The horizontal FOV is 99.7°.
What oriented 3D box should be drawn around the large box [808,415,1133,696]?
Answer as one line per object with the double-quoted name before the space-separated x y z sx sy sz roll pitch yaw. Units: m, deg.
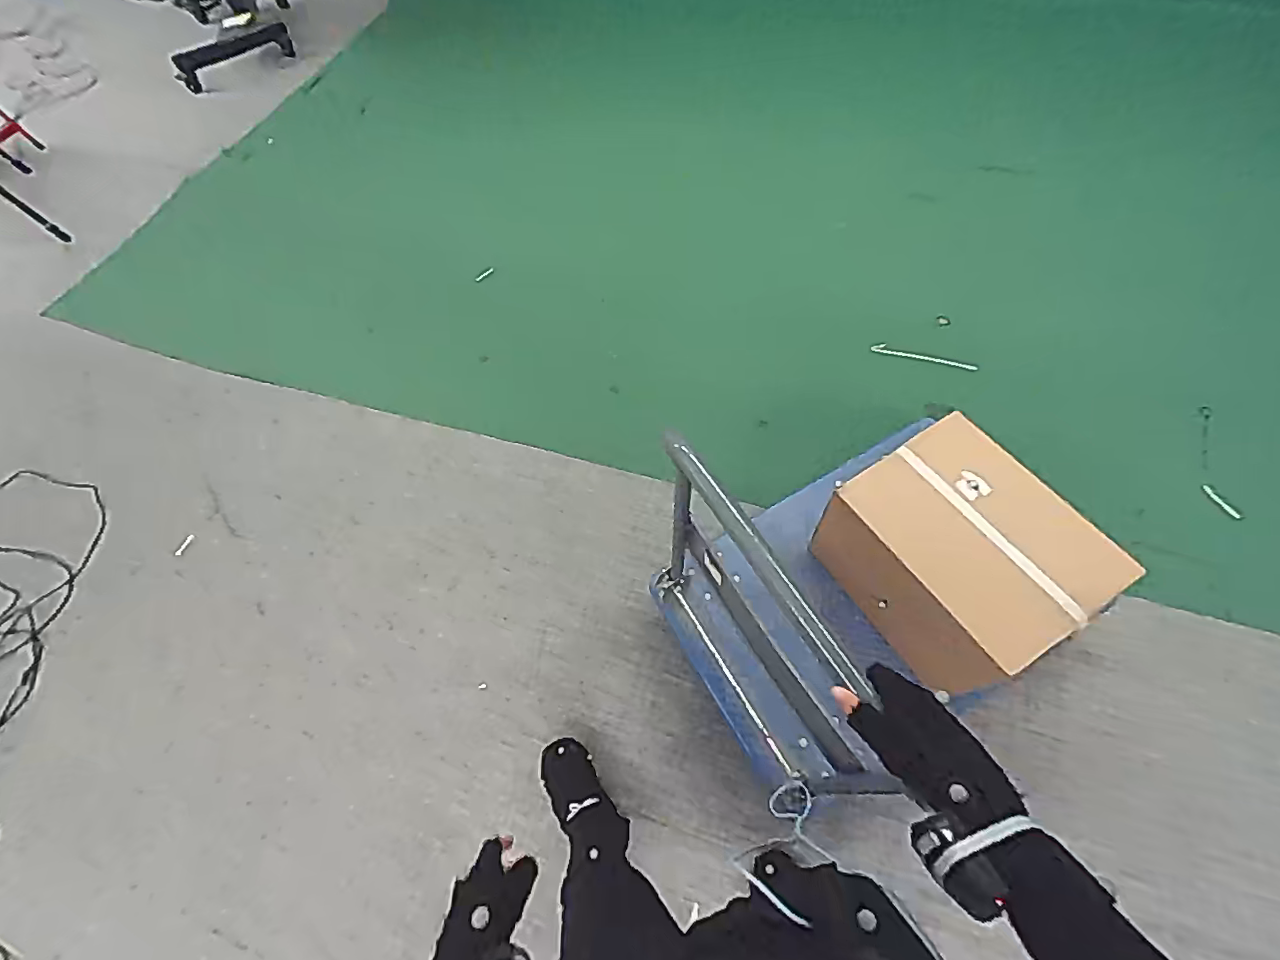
"large box" 0.606 0.157 1.087 0.320 0.320 0.408 -31 61 -10
